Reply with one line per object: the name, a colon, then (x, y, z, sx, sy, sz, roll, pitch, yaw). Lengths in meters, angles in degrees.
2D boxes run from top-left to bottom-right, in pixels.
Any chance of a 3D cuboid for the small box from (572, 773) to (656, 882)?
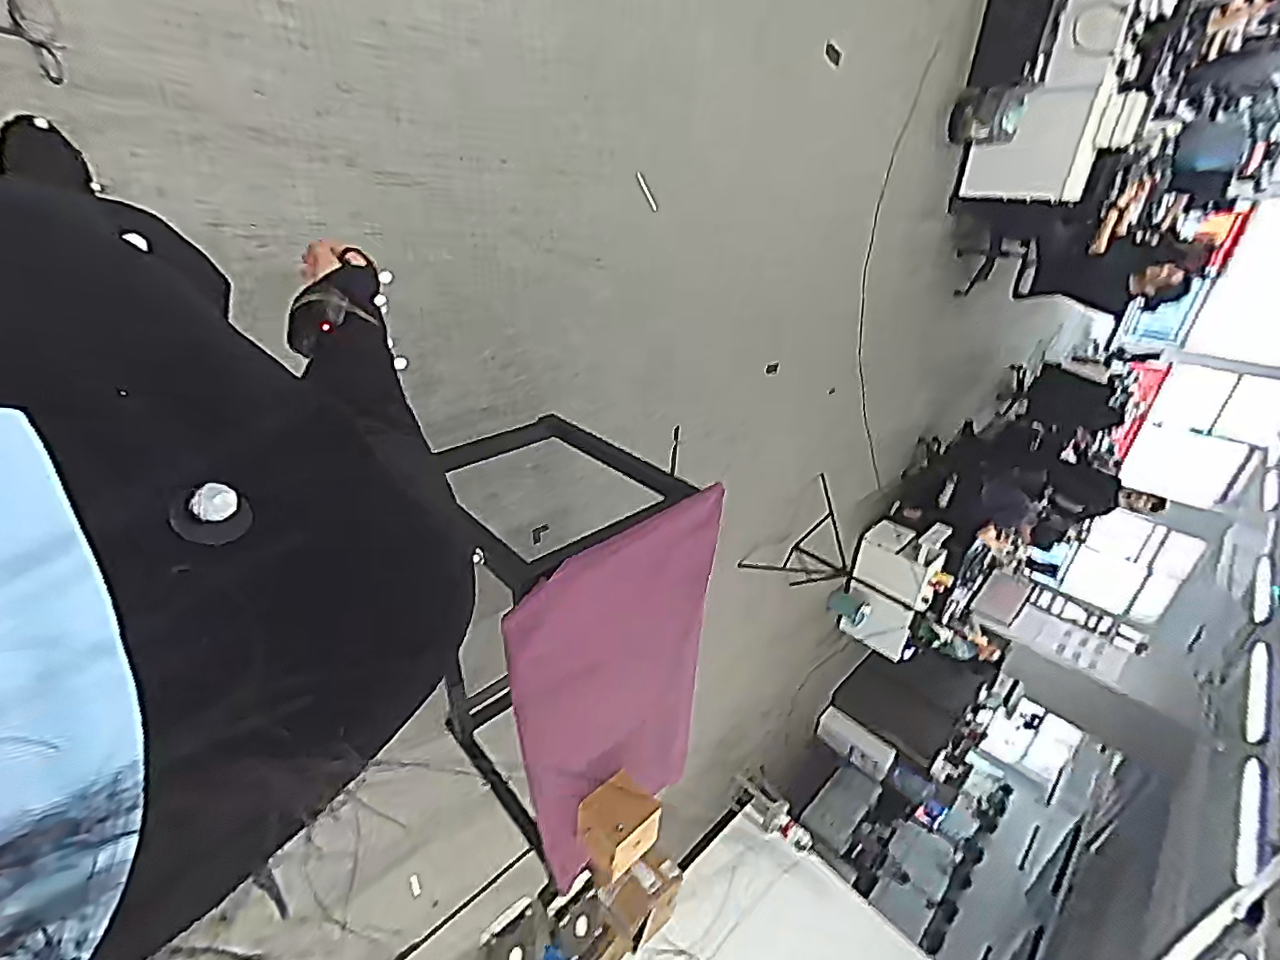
small box: (-0.078, 1.016, 1.597, 0.179, 0.176, 0.168, -18, 124, -41)
